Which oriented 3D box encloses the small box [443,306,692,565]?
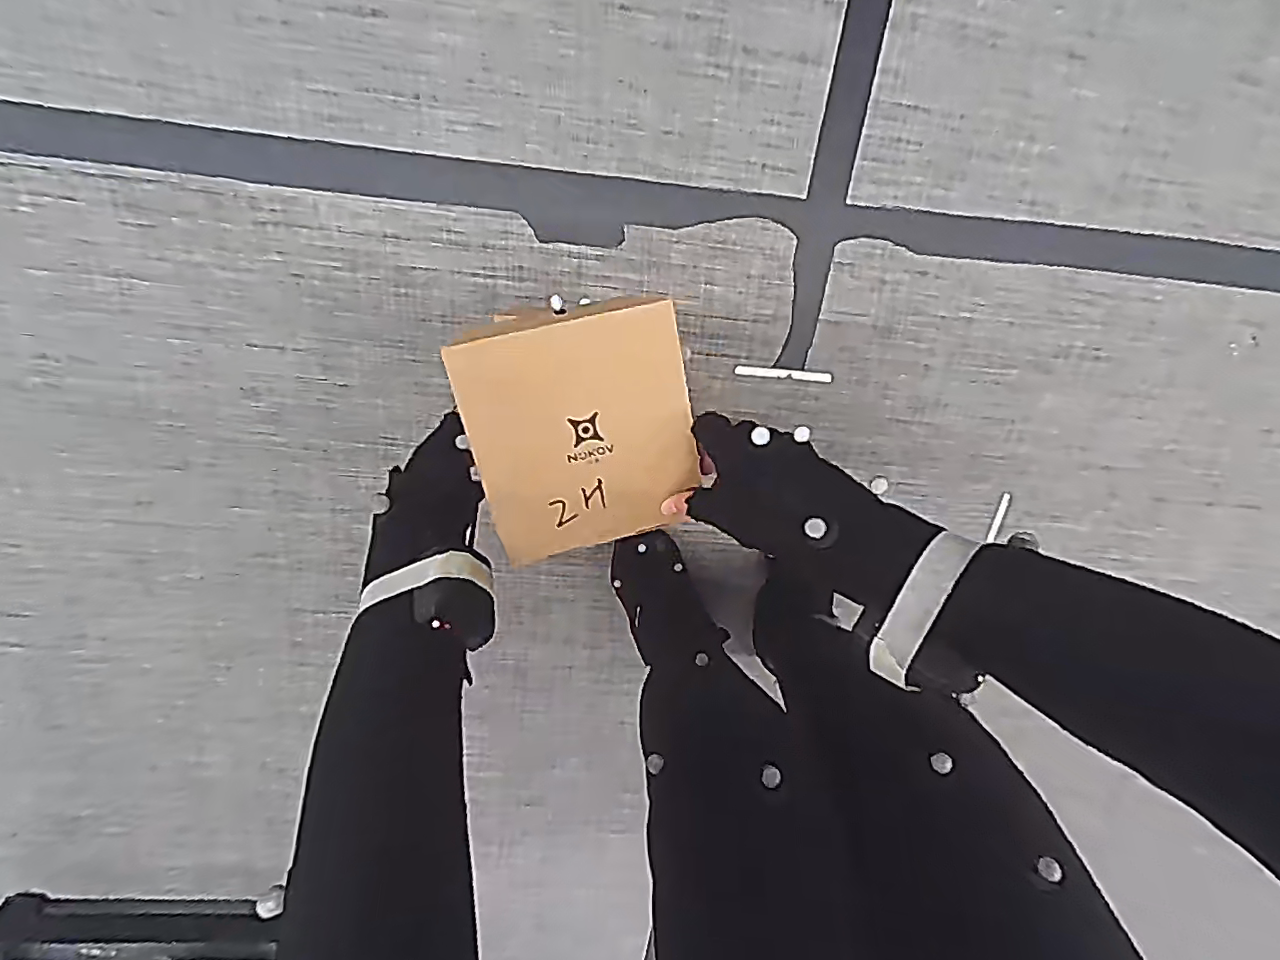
[{"bbox_3d":[-0.060,-0.054,0.478,0.168,0.176,0.179,-11,114,-6],"label":"small box"}]
